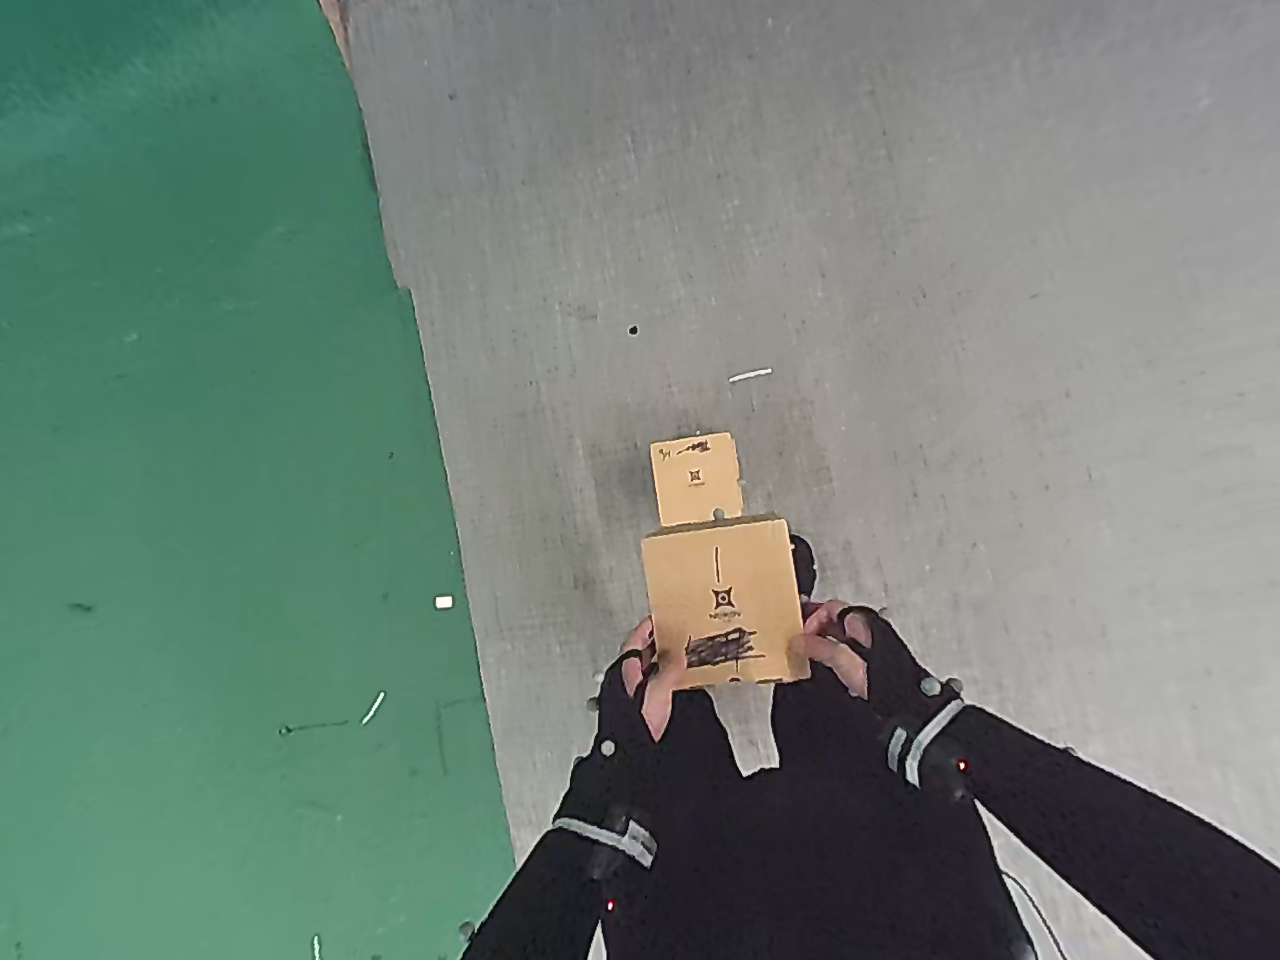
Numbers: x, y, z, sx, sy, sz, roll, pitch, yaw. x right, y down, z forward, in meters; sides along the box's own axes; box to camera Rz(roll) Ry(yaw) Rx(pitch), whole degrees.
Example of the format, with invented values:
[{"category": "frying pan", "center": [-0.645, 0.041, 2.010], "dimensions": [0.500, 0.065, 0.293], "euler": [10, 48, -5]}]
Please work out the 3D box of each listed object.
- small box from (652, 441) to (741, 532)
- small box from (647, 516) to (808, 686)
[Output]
[{"category": "small box", "center": [0.128, 0.015, 1.169], "dimensions": [0.168, 0.176, 0.179], "euler": [-8, 88, 9]}, {"category": "small box", "center": [0.112, 0.146, 0.698], "dimensions": [0.168, 0.176, 0.179], "euler": [-9, 86, 9]}]
